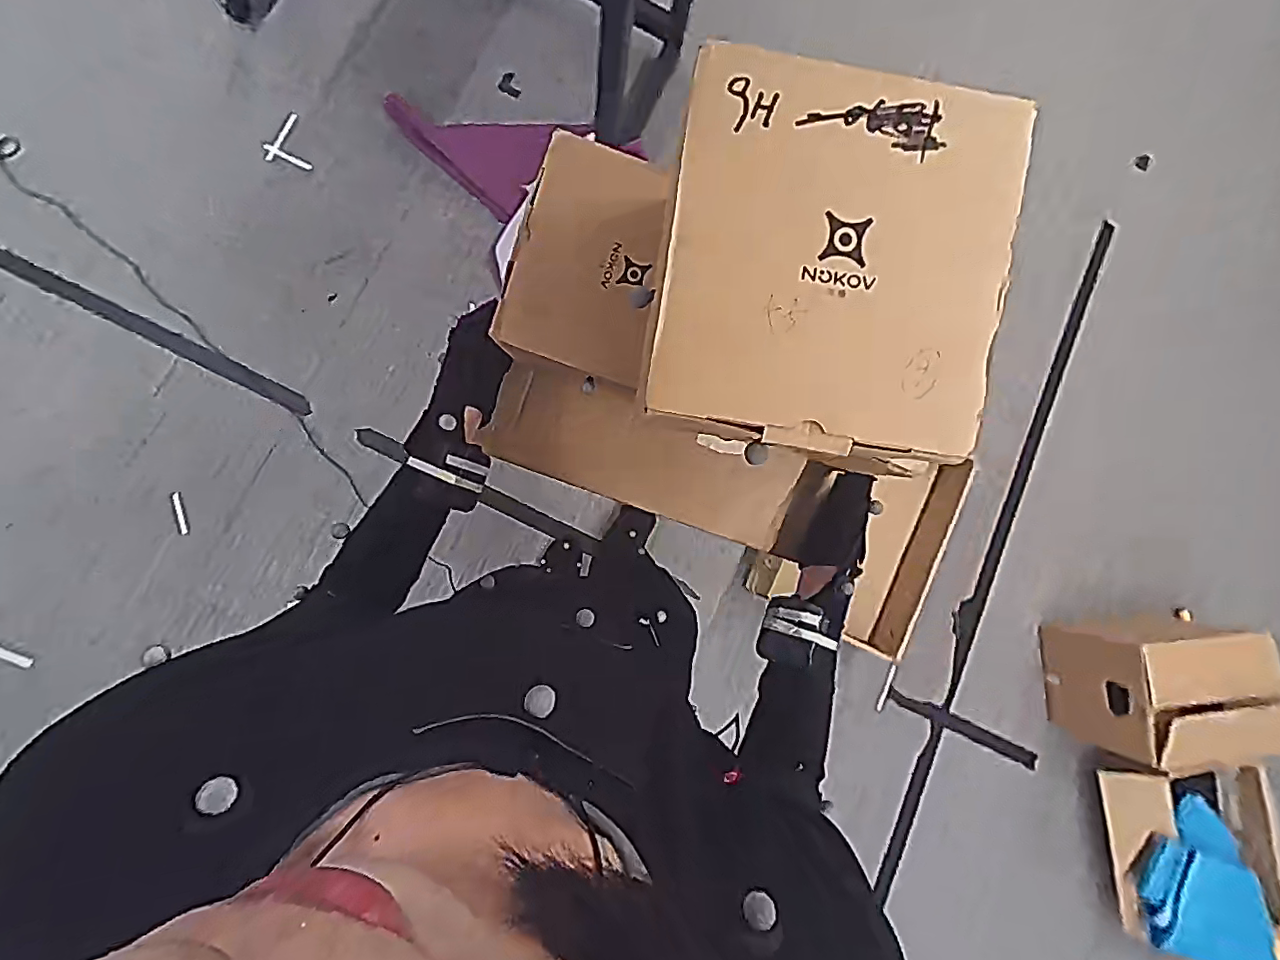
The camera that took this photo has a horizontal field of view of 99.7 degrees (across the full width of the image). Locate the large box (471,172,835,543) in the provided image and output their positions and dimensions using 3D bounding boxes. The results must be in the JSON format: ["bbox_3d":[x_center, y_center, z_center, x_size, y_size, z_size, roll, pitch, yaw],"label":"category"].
[{"bbox_3d":[0.035,-0.137,0.743,0.408,0.320,0.320,18,93,-5],"label":"large box"}]

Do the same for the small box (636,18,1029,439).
[{"bbox_3d":[0.090,-0.123,0.339,0.168,0.176,0.179,8,94,-3],"label":"small box"}]
